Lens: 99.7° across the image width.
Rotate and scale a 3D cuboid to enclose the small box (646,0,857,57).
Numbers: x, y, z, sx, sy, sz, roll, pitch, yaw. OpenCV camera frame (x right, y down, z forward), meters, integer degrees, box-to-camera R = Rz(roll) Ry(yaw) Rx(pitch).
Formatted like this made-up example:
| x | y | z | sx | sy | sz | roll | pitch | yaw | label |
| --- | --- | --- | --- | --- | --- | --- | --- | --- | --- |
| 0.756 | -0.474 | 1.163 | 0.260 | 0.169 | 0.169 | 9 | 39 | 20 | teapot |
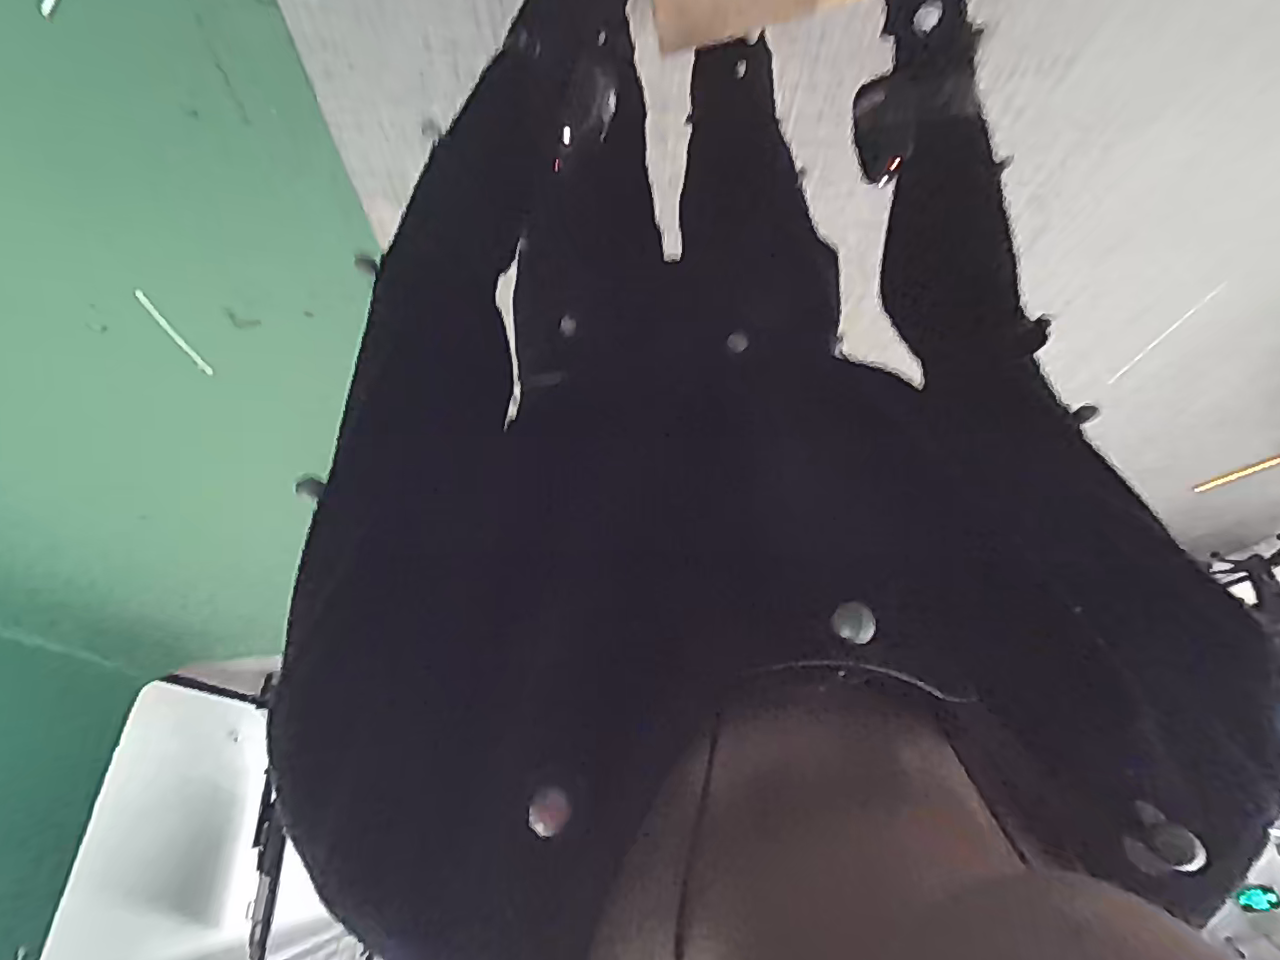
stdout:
| x | y | z | sx | sy | sz | roll | pitch | yaw | label |
| --- | --- | --- | --- | --- | --- | --- | --- | --- | --- |
| 0.088 | -0.499 | 0.458 | 0.179 | 0.176 | 0.168 | -5 | 140 | 15 | small box |
